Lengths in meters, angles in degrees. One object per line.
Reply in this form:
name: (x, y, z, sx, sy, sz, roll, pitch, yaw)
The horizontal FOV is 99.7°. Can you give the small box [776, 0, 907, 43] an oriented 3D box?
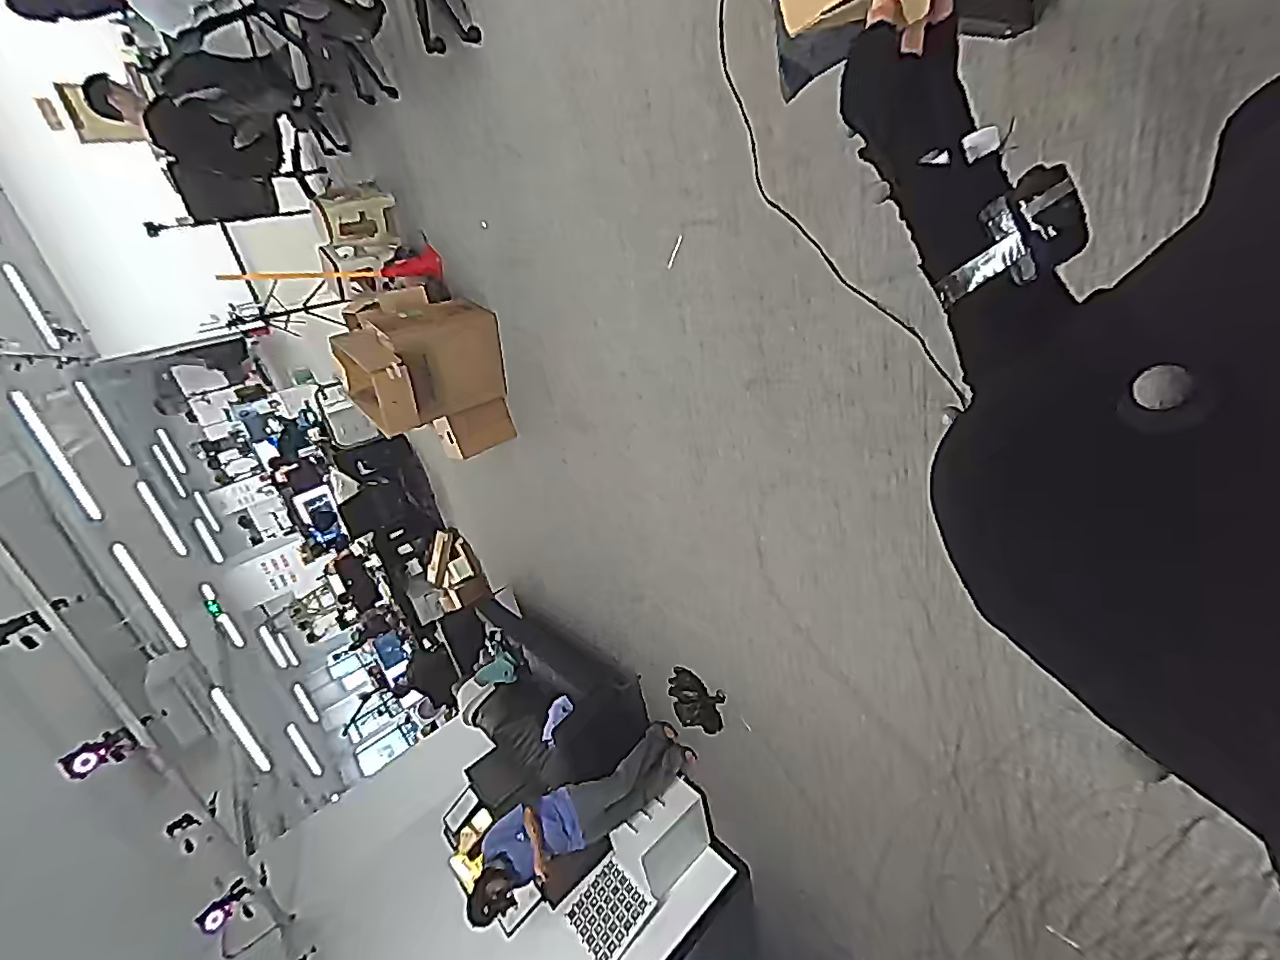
small box: (0.192, -0.460, 0.379, 0.168, 0.176, 0.179, 7, 128, 52)
